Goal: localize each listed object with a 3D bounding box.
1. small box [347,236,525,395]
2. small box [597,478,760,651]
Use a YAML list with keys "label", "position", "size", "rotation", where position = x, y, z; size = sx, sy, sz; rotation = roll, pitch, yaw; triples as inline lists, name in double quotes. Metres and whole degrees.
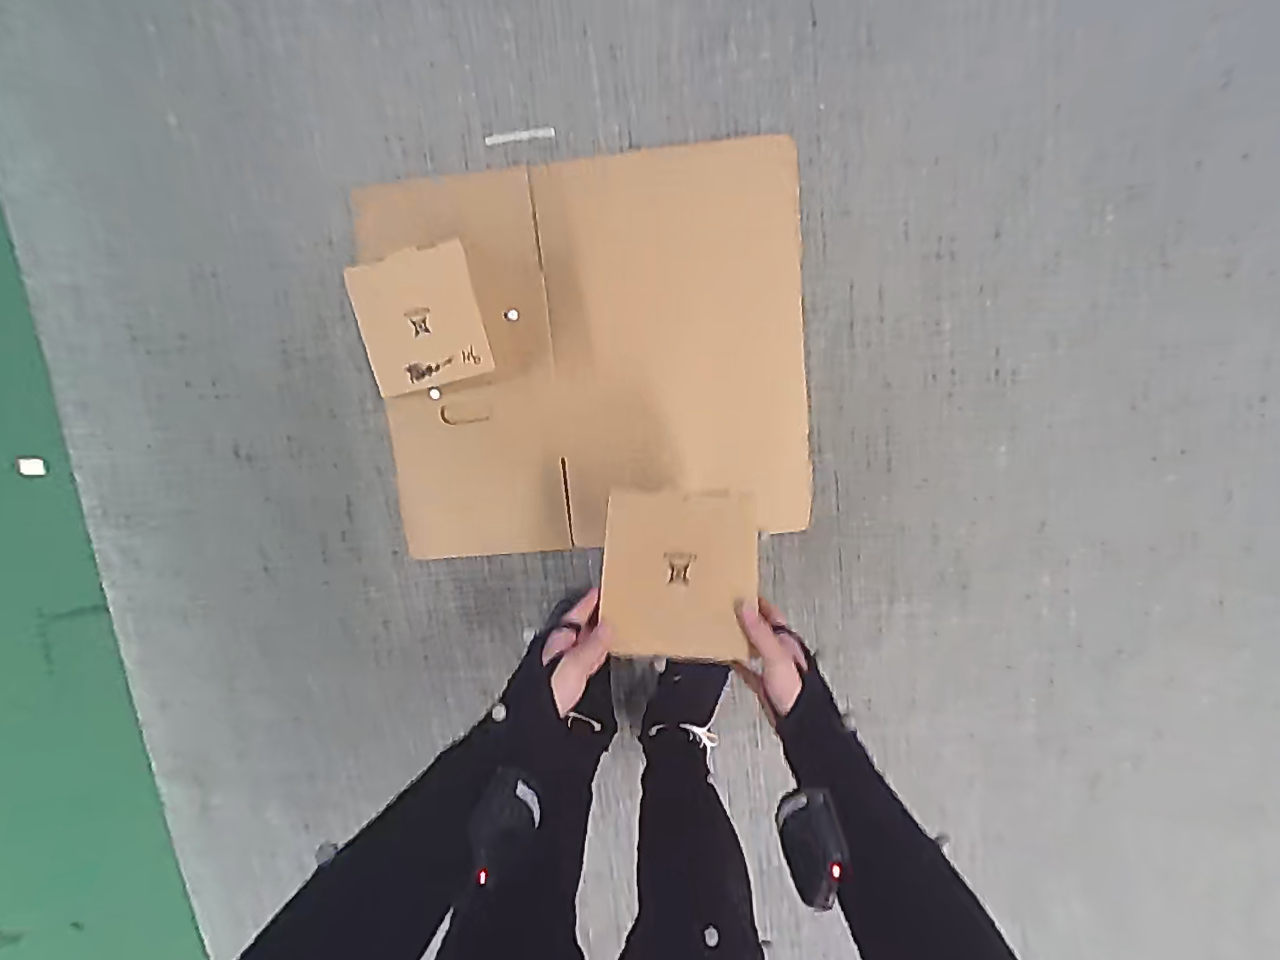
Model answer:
- label: "small box"
  position: [-0.282, -0.226, 0.788]
  size: [0.168, 0.176, 0.179]
  rotation: [-13, 98, 5]
- label: "small box"
  position: [0.052, 0.107, 0.638]
  size: [0.168, 0.176, 0.179]
  rotation: [1, 71, 7]
